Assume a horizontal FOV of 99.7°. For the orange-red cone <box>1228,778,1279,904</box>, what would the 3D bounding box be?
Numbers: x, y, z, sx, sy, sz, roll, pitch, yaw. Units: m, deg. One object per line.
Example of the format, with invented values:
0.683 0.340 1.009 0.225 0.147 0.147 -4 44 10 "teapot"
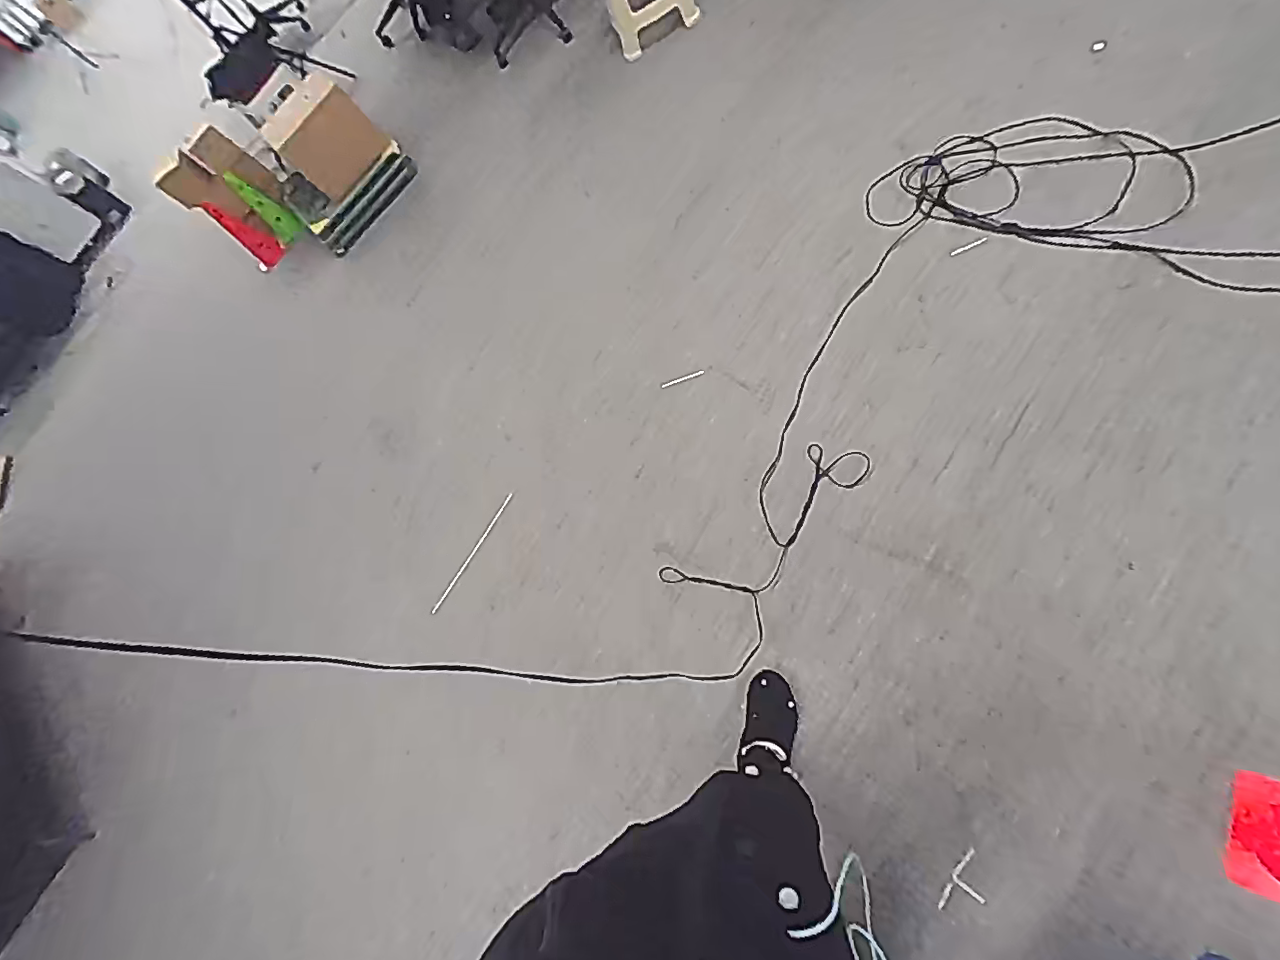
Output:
1.102 0.597 0.789 0.198 0.360 0.199 16 77 26 "orange-red cone"
